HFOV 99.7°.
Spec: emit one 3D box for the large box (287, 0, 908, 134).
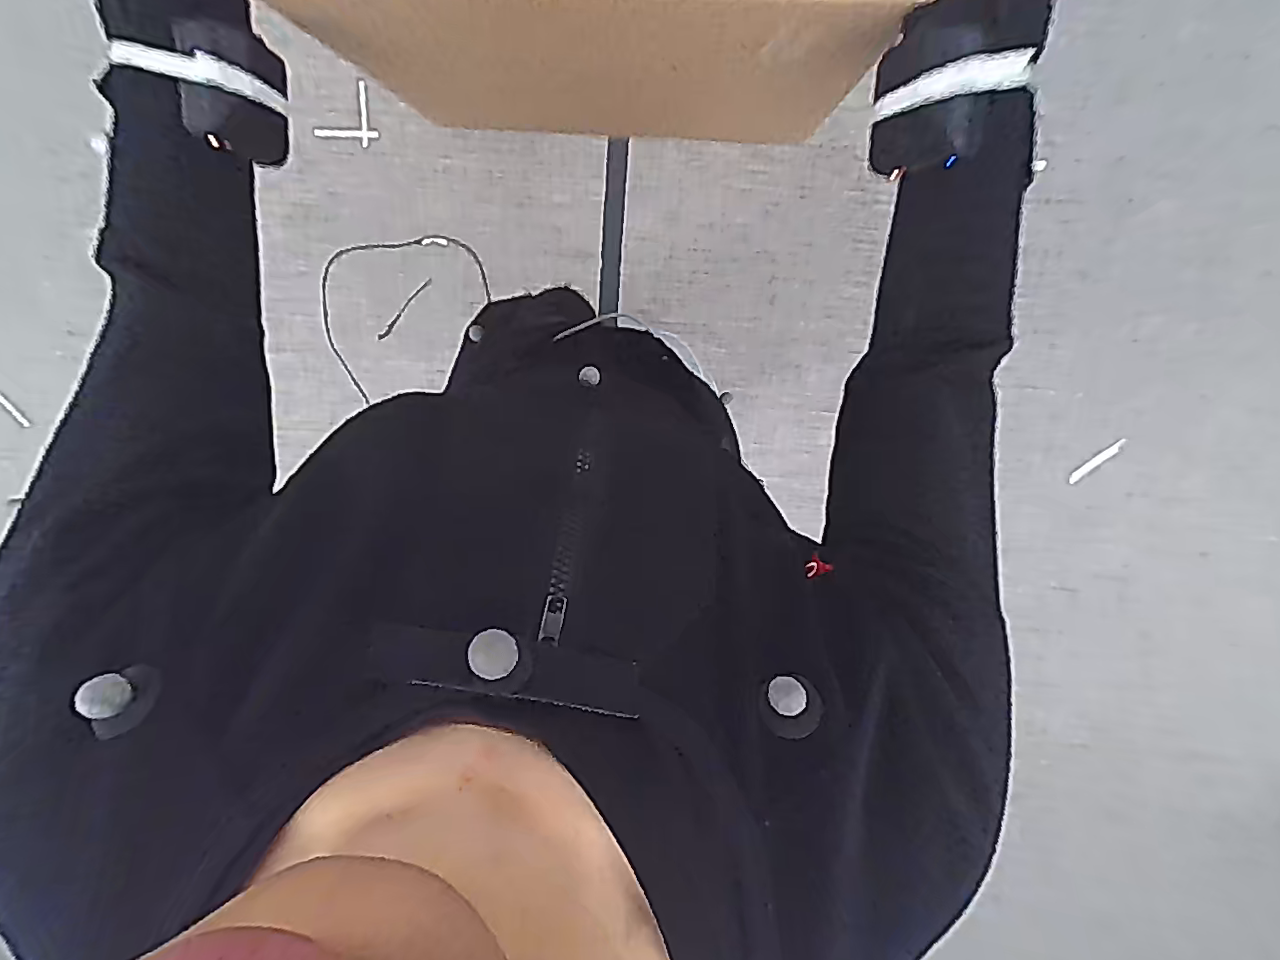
[{"bbox_3d":[-0.024,-0.477,0.403,0.408,0.320,0.320,3,110,1],"label":"large box"}]
